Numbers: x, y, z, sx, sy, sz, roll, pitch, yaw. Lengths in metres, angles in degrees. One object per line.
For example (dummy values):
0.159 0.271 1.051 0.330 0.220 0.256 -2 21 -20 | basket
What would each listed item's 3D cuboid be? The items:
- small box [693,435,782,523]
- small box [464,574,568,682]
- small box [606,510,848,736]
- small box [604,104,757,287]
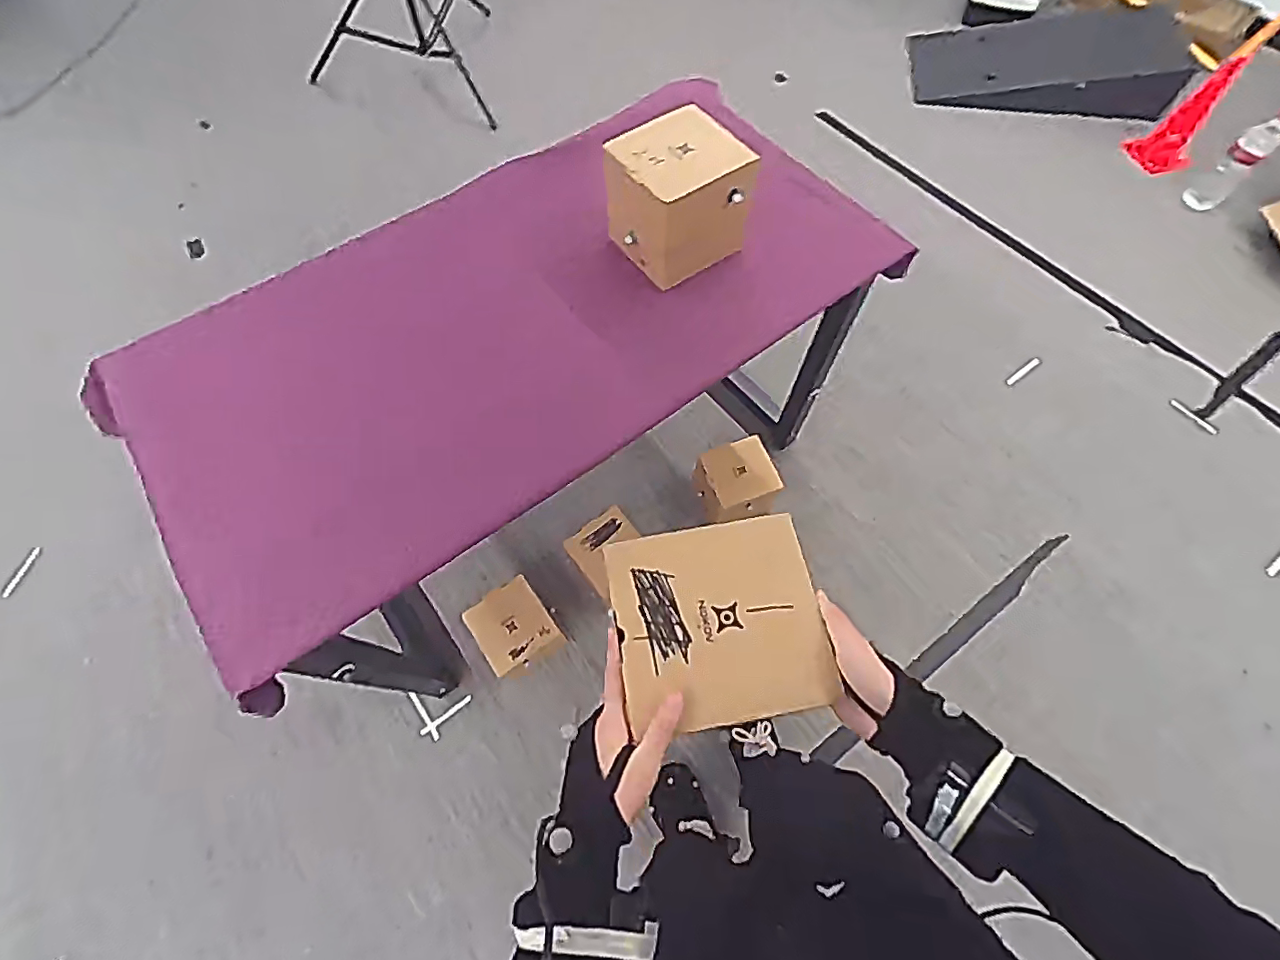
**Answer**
0.257 0.009 1.466 0.179 0.176 0.168 -19 67 -7 | small box
-0.293 0.363 1.307 0.168 0.176 0.179 -33 68 -14 | small box
0.071 0.147 0.525 0.179 0.176 0.168 -10 65 -2 | small box
0.059 -0.455 0.877 0.179 0.176 0.168 -33 68 -13 | small box
